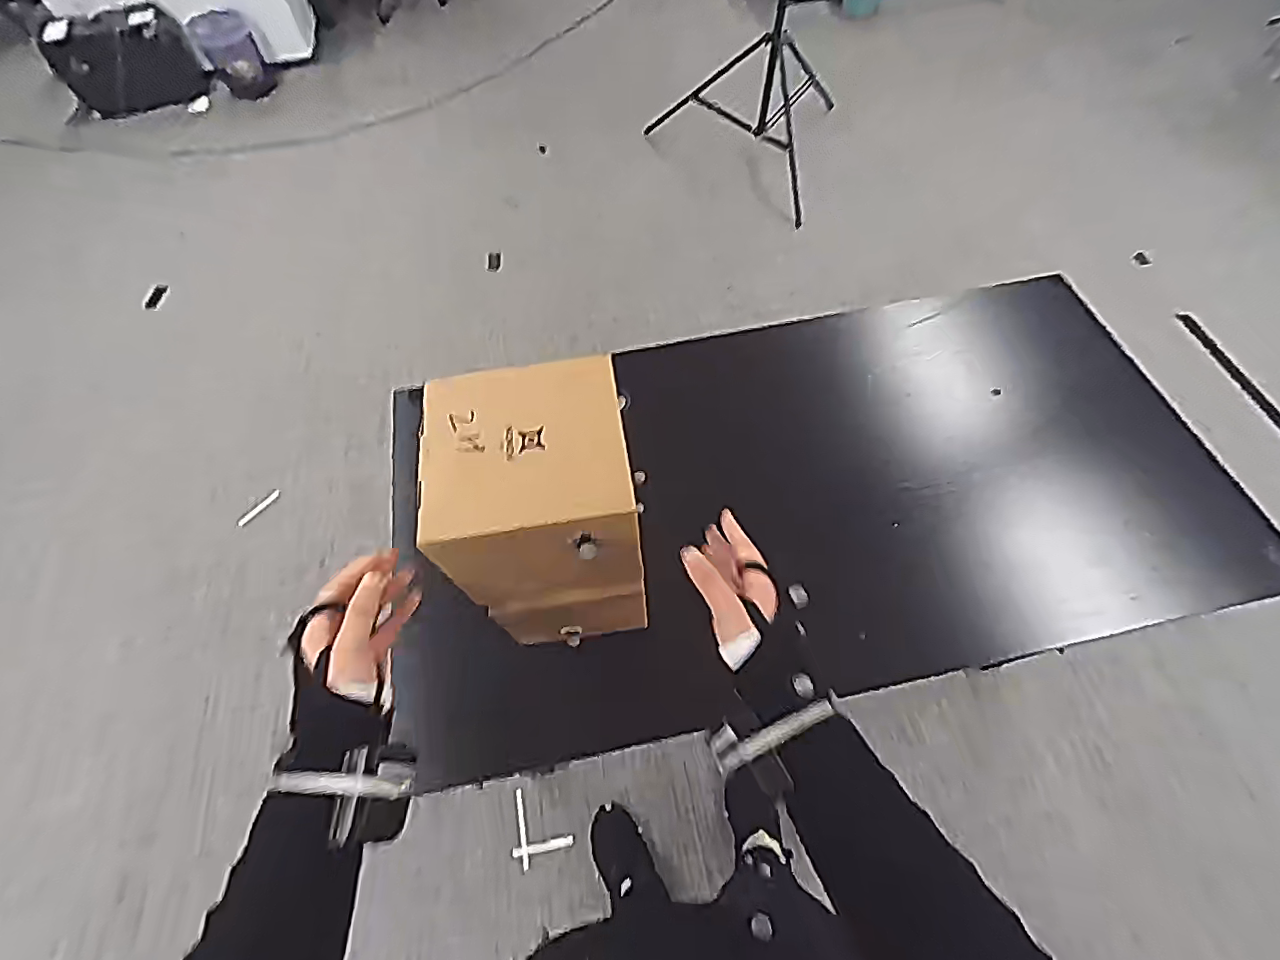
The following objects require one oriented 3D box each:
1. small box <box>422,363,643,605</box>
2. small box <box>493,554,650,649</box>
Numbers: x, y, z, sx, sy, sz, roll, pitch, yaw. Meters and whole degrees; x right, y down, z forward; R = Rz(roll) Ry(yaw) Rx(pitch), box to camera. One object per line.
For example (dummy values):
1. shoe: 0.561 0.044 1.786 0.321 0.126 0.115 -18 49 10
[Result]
1. small box: -0.093 0.012 0.530 0.179 0.176 0.168 -9 61 -2
2. small box: -0.081 0.095 0.672 0.168 0.176 0.179 -9 62 -2
